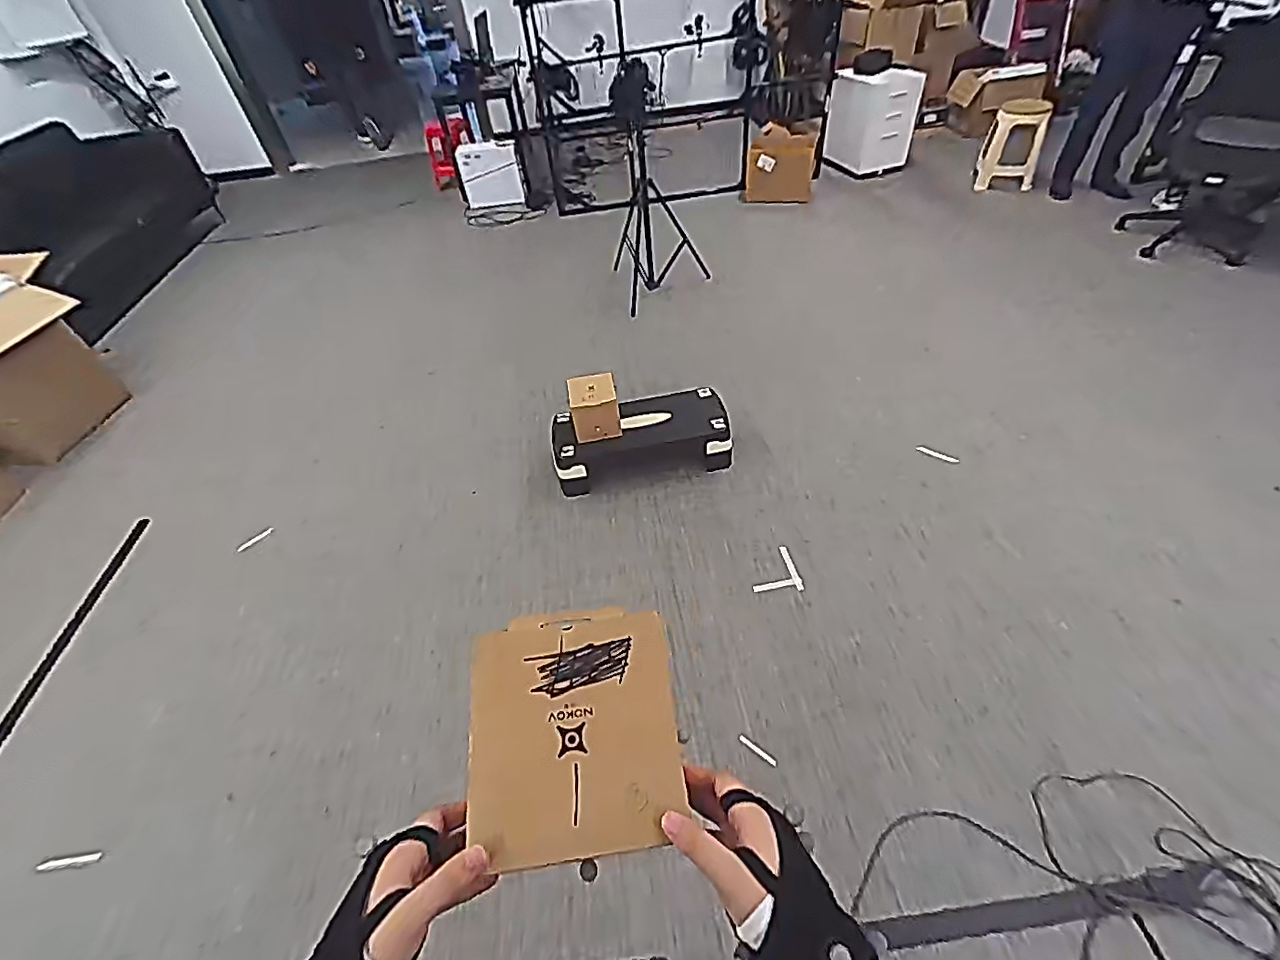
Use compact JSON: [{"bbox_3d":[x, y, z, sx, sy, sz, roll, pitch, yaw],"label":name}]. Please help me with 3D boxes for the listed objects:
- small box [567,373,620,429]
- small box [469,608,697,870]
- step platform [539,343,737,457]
[{"bbox_3d":[-0.170,-0.265,1.988,0.168,0.176,0.179,-11,46,-3],"label":"small box"},{"bbox_3d":[-0.049,0.237,0.495,0.168,0.176,0.179,-7,57,-4],"label":"small box"},{"bbox_3d":[-0.005,-0.286,1.937,0.684,0.204,0.286,-10,45,-3],"label":"step platform"}]
